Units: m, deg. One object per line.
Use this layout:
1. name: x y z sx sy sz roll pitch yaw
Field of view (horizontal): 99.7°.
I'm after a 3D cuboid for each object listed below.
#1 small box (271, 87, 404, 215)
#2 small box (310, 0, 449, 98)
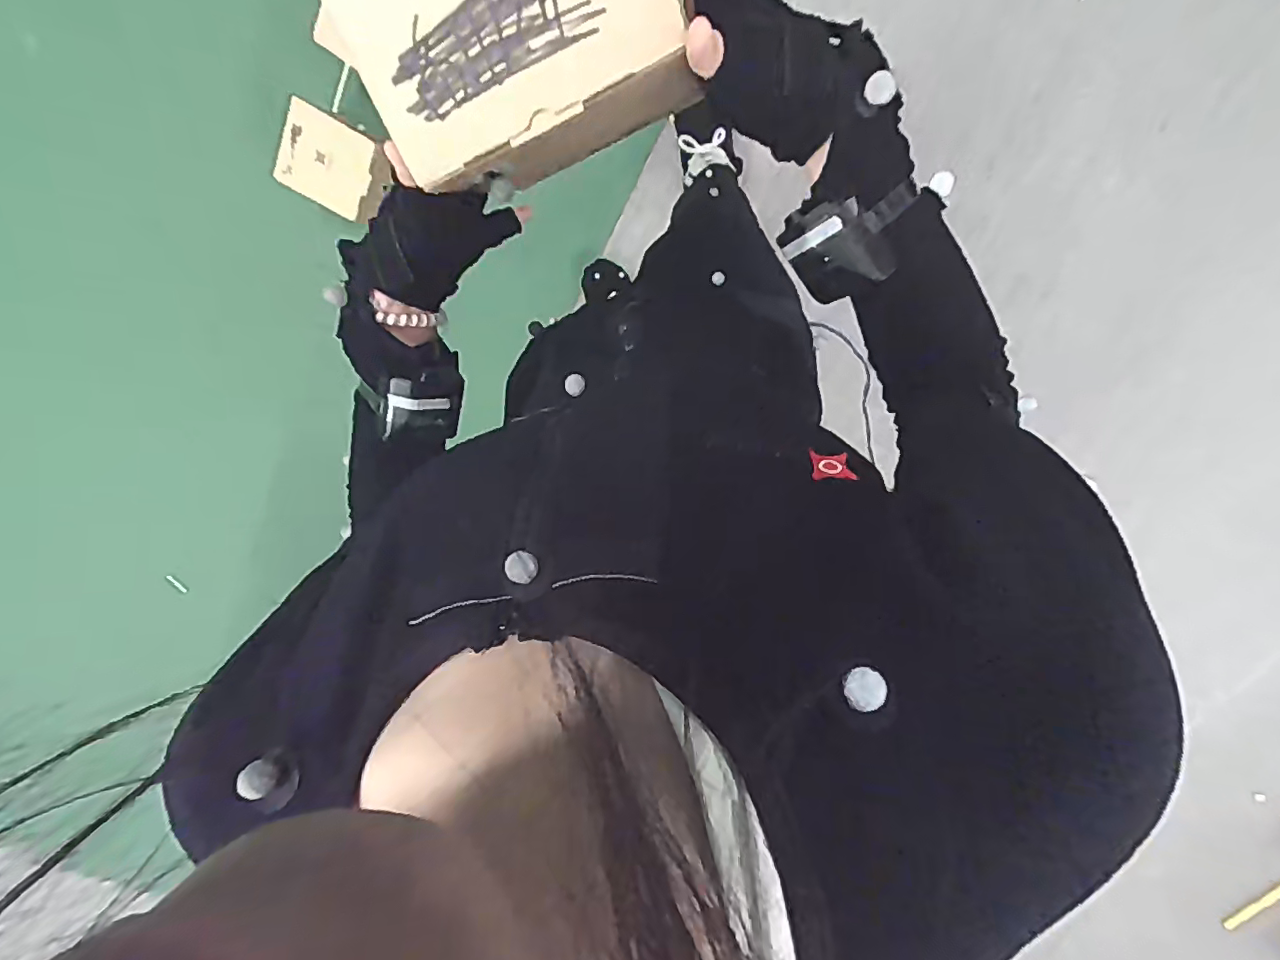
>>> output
1. small box: -0.638 -0.695 1.161 0.179 0.176 0.168 27 113 -12
2. small box: -0.500 -0.902 1.063 0.168 0.176 0.179 31 112 -12
